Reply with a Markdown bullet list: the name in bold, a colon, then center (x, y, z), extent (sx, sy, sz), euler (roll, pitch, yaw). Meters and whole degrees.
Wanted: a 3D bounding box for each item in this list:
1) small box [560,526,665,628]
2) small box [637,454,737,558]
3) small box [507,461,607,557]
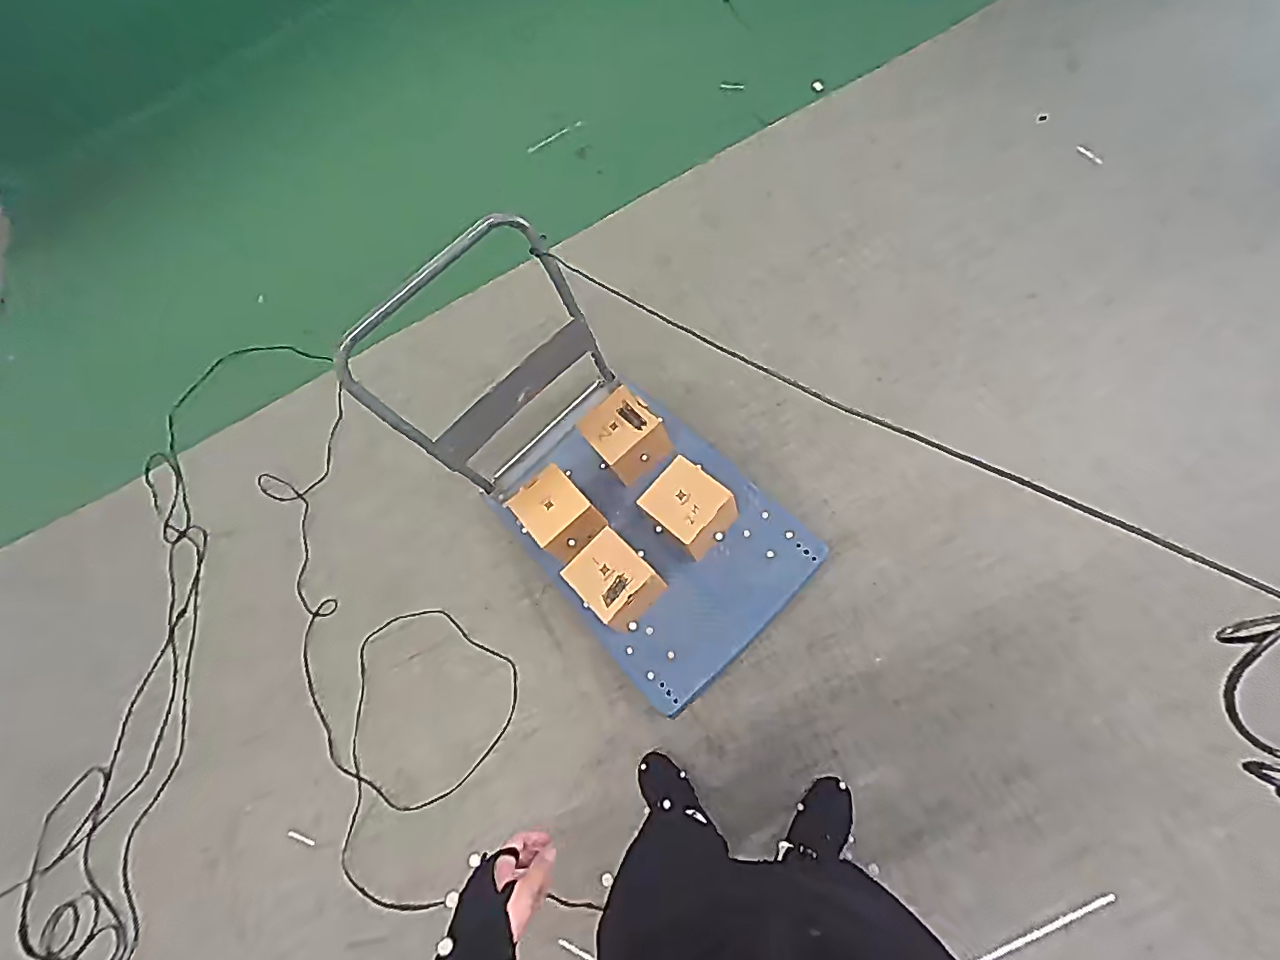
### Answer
- **small box**: center (-0.060, 0.247, 1.336), extent (0.168, 0.176, 0.179), euler (-44, 63, -7)
- **small box**: center (0.124, 0.072, 1.364), extent (0.179, 0.176, 0.168), euler (40, 82, 26)
- **small box**: center (-0.215, 0.087, 1.449), extent (0.168, 0.176, 0.179), euler (-42, 63, -5)
